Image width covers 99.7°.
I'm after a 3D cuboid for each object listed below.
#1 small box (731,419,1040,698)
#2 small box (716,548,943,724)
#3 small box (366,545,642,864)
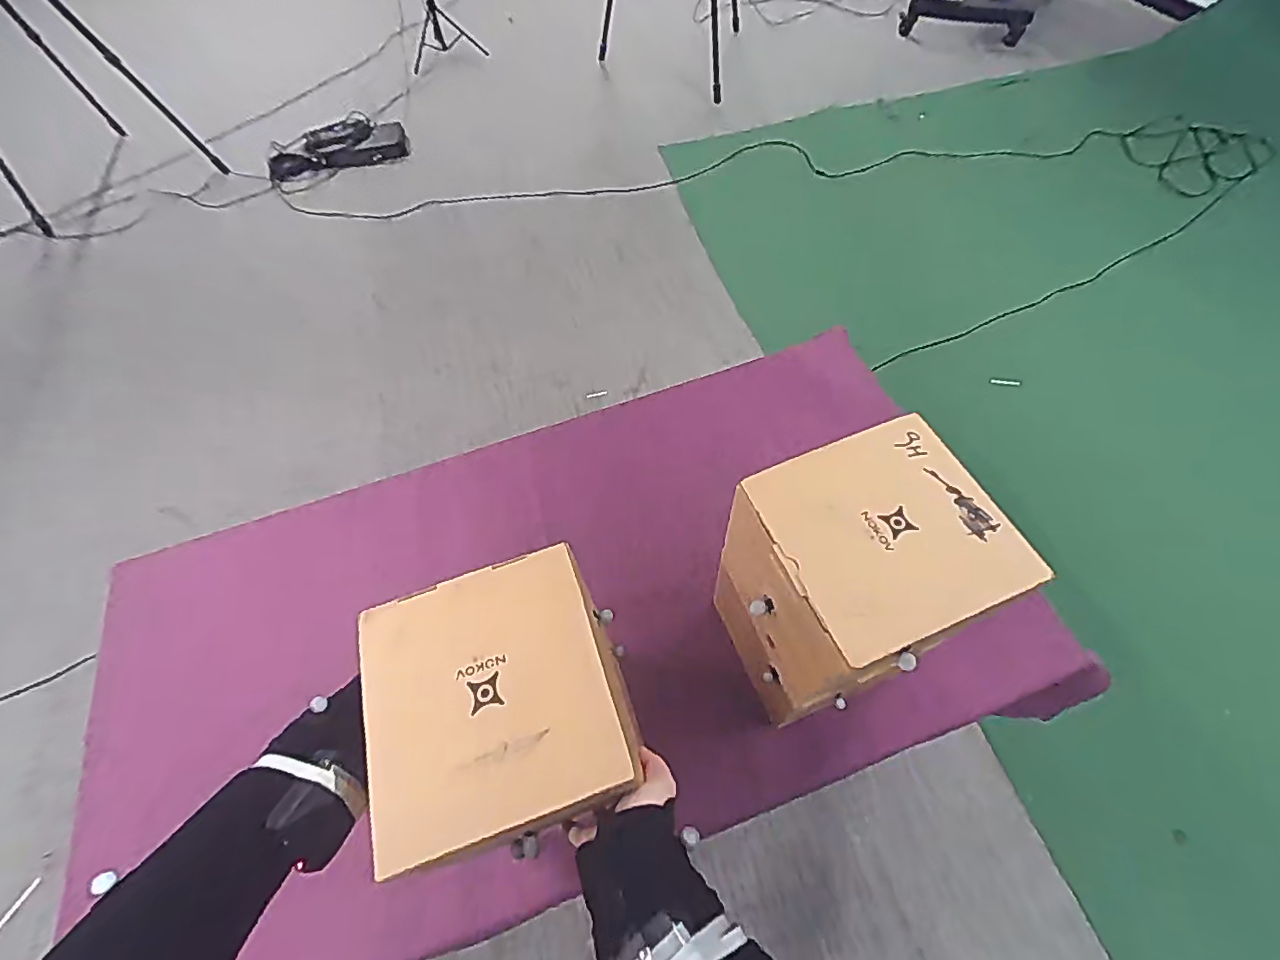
[{"bbox_3d":[0.193,0.080,0.494,0.179,0.176,0.168,-21,61,-8],"label":"small box"},{"bbox_3d":[0.200,0.163,0.636,0.168,0.176,0.179,-20,60,-9],"label":"small box"},{"bbox_3d":[-0.103,0.185,0.444,0.168,0.176,0.179,-18,58,-6],"label":"small box"}]
